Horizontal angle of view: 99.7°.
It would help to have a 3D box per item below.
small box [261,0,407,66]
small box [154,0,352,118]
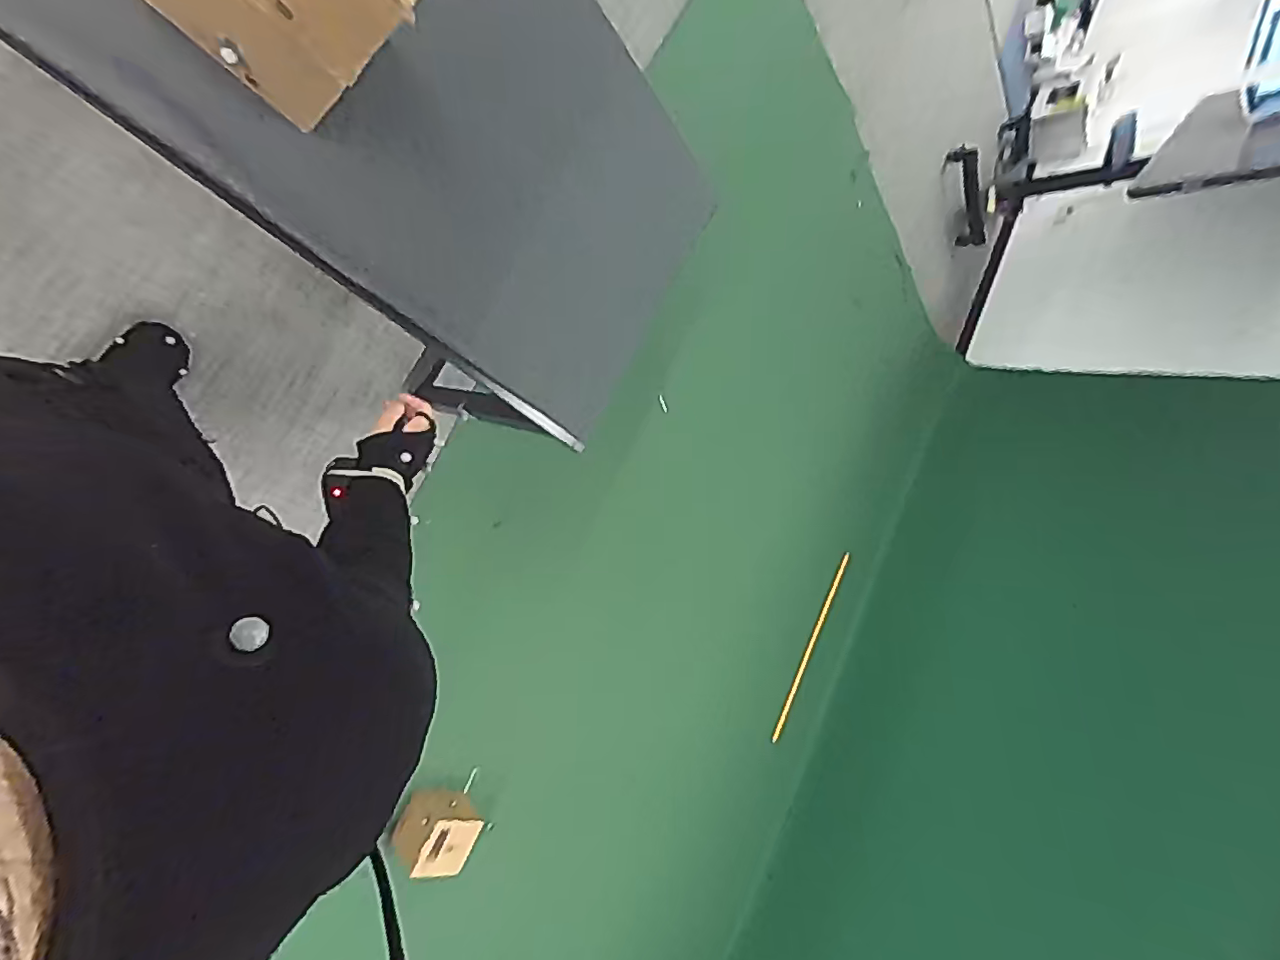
[{"bbox_3d":[-0.234,-0.471,0.405,0.168,0.176,0.179,36,75,-43],"label":"small box"},{"bbox_3d":[-0.345,-0.501,0.520,0.168,0.176,0.179,36,75,-42],"label":"small box"}]
